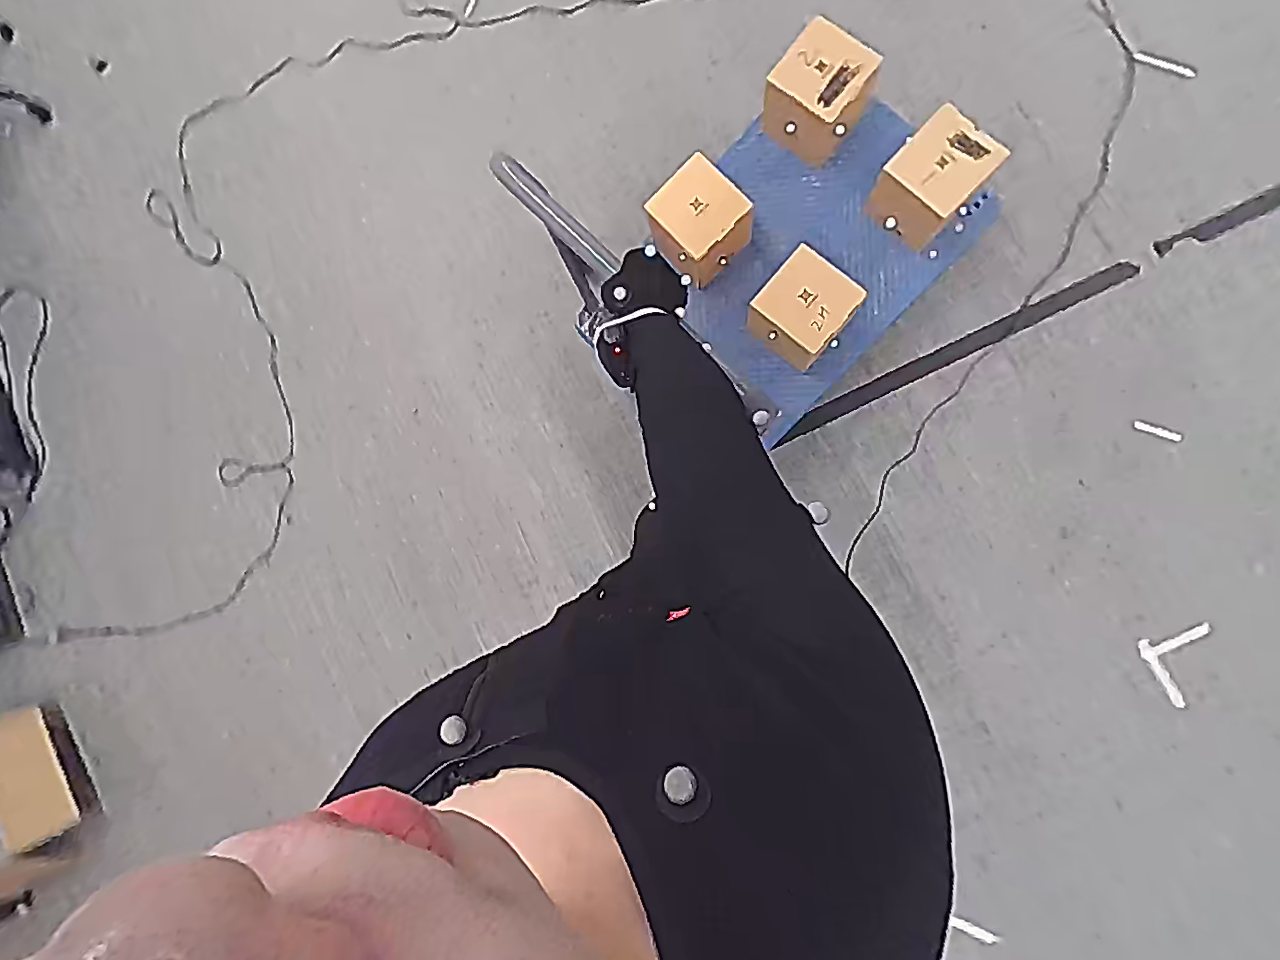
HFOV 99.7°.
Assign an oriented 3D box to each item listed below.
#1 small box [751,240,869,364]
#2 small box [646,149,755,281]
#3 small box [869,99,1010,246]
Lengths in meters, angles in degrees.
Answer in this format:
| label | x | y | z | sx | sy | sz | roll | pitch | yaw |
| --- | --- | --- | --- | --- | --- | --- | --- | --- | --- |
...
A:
| label | x | y | z | sx | sy | sz | roll | pitch | yaw |
| --- | --- | --- | --- | --- | --- | --- | --- | --- | --- |
| small box | 0.361 | -0.379 | 1.190 | 0.179 | 0.176 | 0.168 | 42 | 95 | 8 |
| small box | 0.137 | -0.590 | 1.230 | 0.168 | 0.176 | 0.179 | -44 | 85 | 5 |
| small box | 0.624 | -0.645 | 1.156 | 0.168 | 0.176 | 0.179 | 45 | 96 | 7 |
